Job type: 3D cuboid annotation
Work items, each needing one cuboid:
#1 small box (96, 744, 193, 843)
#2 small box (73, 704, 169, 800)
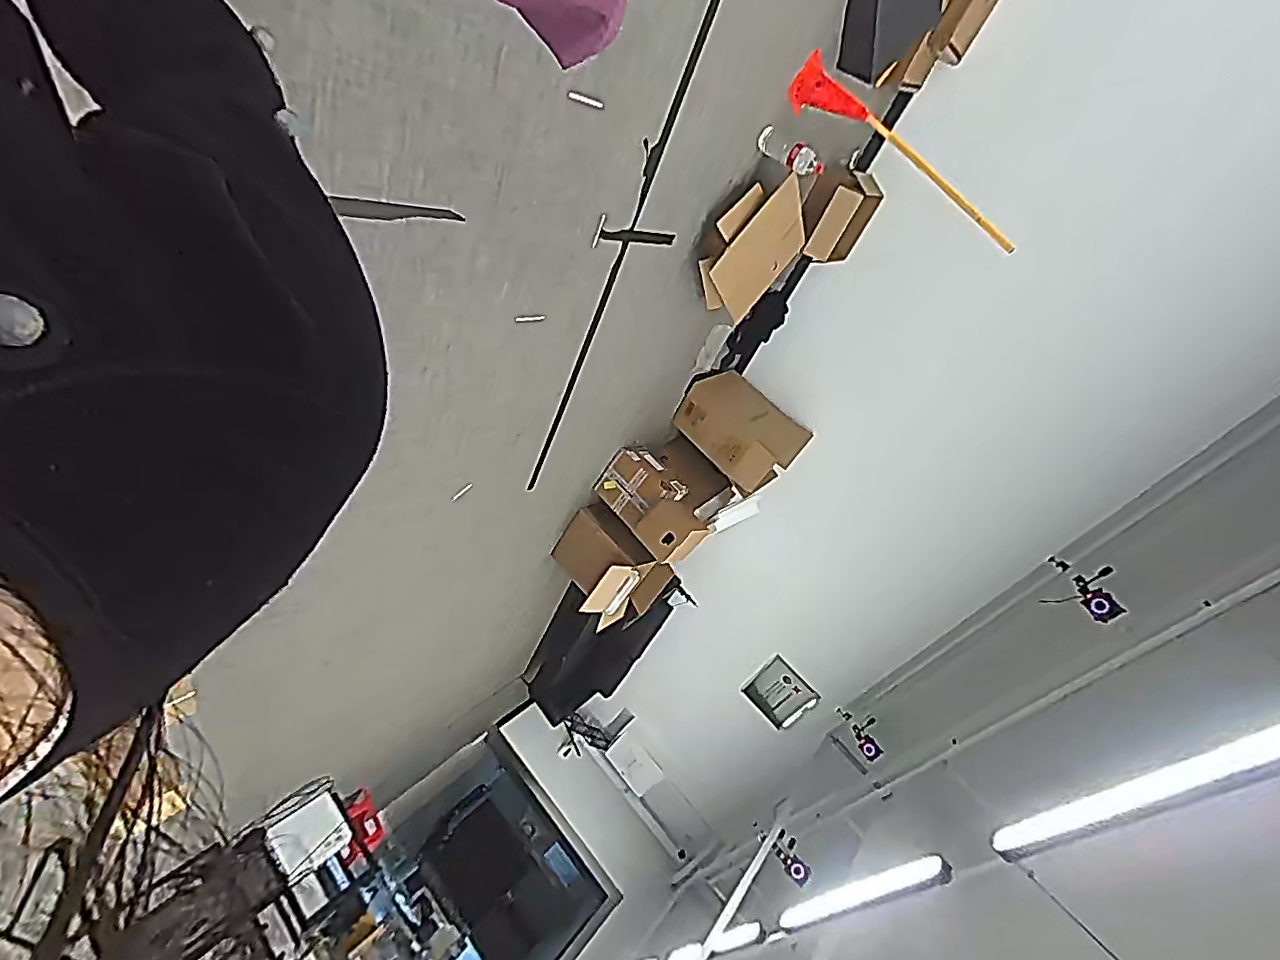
[{"bbox_3d":[-1.481,0.933,1.622,0.168,0.176,0.179,-25,150,-47],"label":"small box"},{"bbox_3d":[-1.598,0.836,1.677,0.179,0.176,0.168,-25,150,-45],"label":"small box"}]
